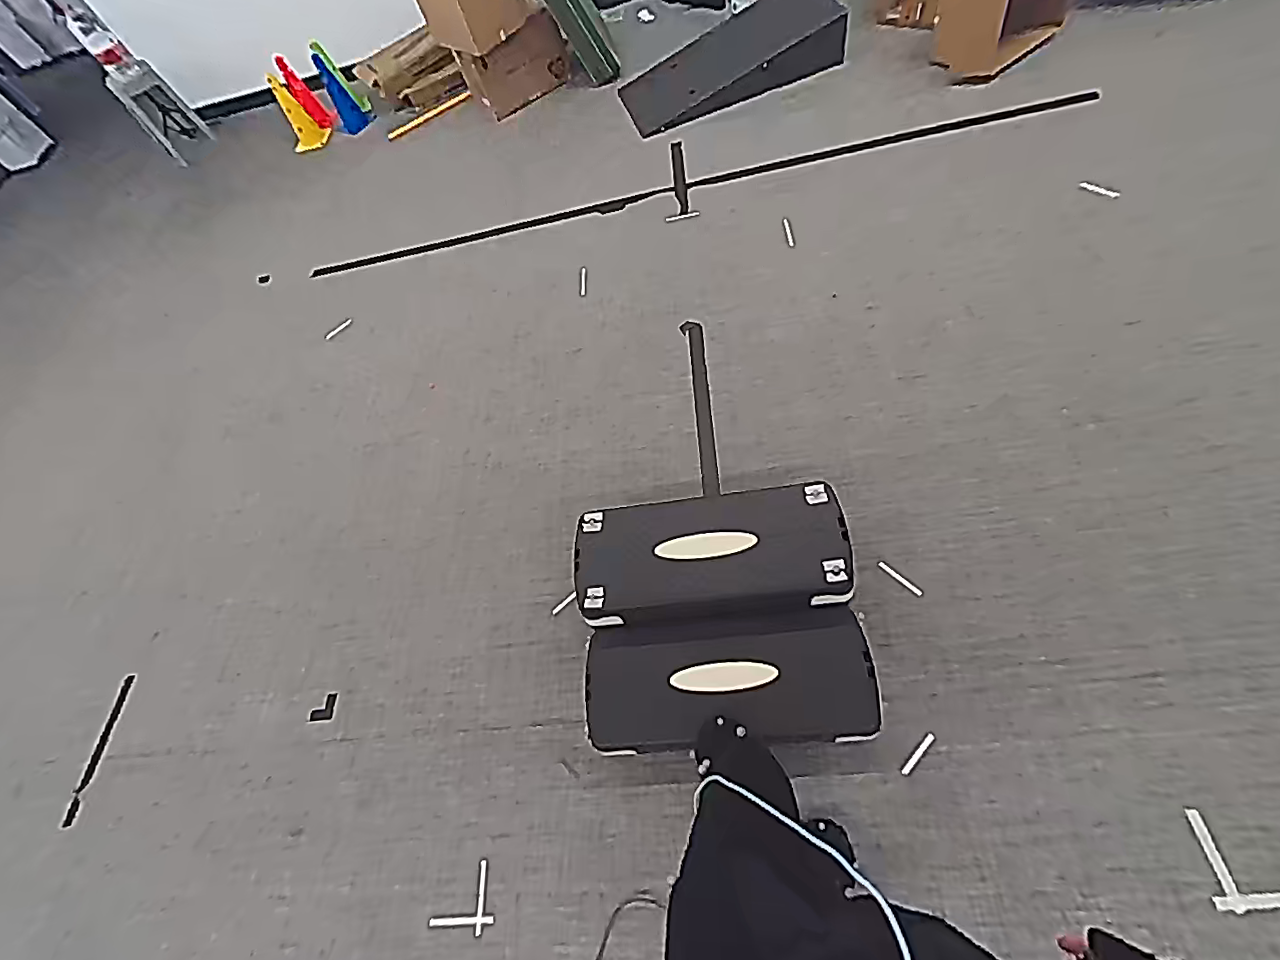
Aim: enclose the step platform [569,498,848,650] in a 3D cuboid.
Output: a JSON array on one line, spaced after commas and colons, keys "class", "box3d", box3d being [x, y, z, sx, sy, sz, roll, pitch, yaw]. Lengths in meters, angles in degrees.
[{"class": "step platform", "box3d": [0.162, 0.242, 1.377, 0.684, 0.204, 0.286, -9, 60, 8]}]
